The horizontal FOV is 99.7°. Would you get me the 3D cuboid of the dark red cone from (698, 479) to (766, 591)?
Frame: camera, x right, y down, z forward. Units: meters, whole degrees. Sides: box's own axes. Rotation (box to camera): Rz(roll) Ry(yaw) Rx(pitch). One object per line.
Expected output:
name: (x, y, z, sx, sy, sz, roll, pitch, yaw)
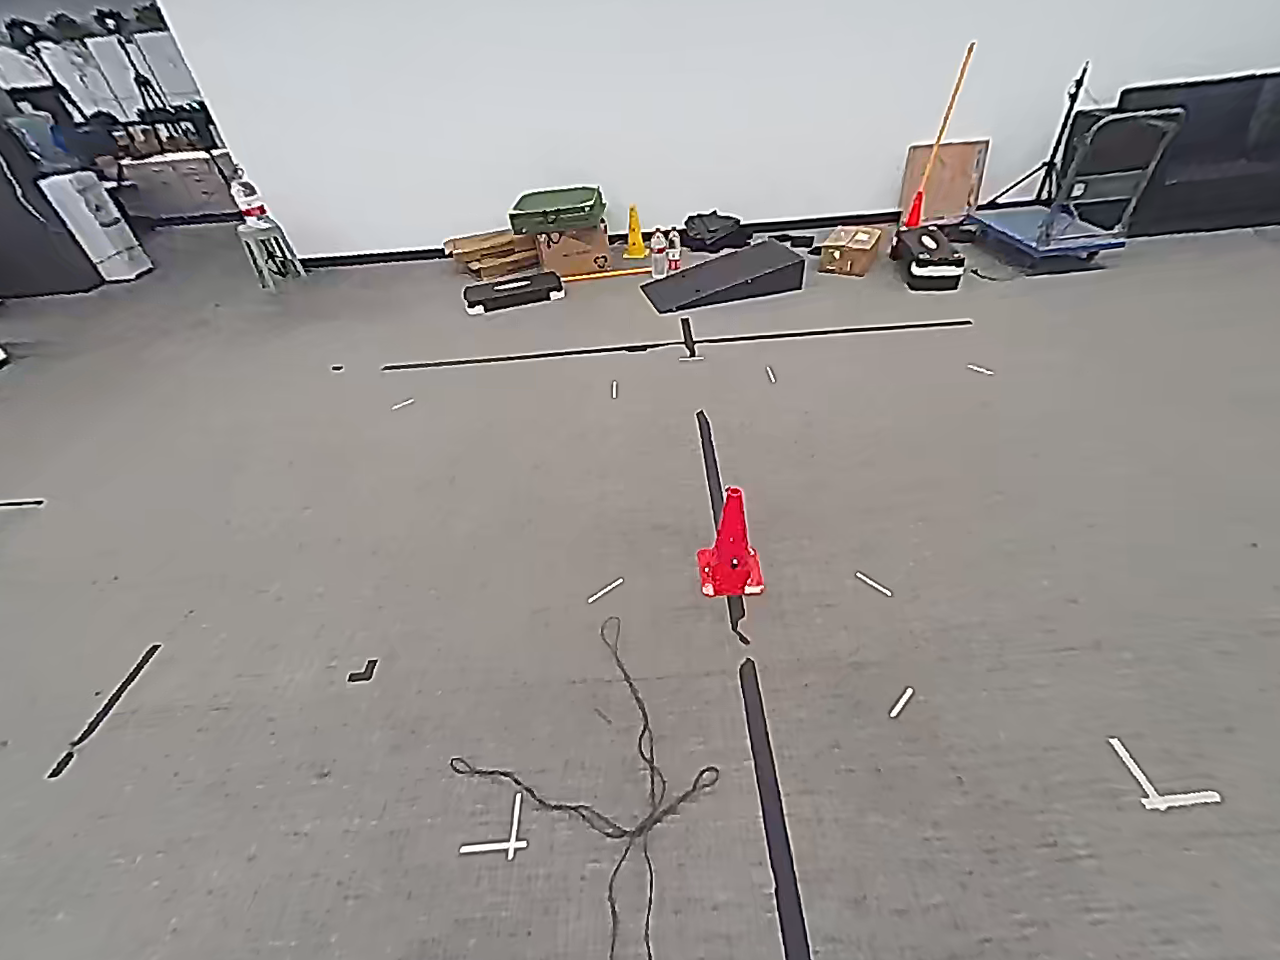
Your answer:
dark red cone: (0.285, 0.154, 1.667, 0.201, 0.394, 0.202, -5, 40, 2)
